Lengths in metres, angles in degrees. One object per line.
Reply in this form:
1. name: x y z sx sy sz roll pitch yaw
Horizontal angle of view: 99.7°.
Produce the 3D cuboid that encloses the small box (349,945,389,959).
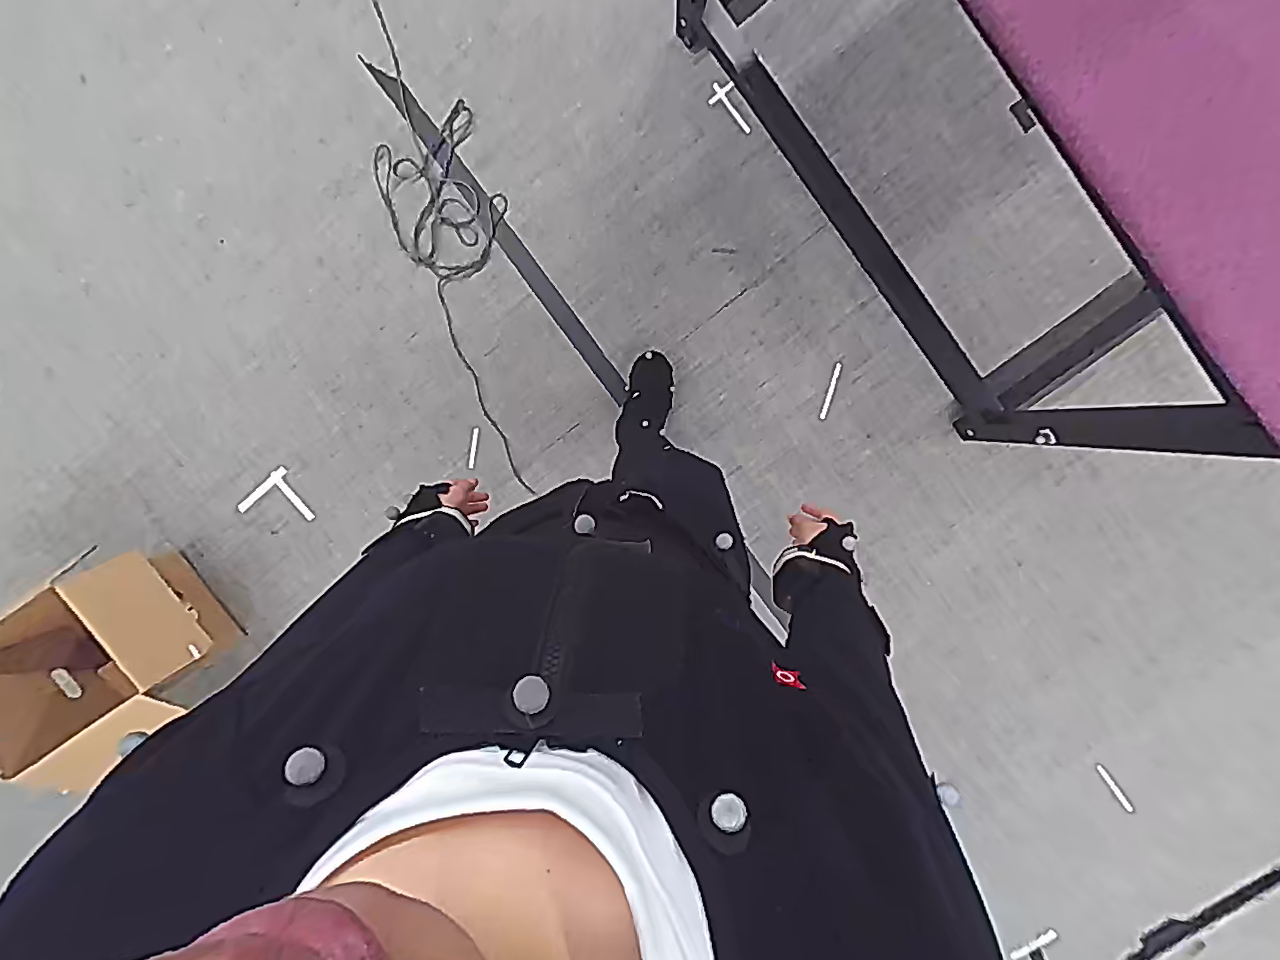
1. small box: -0.691 1.286 1.292 0.179 0.176 0.168 -39 94 5
